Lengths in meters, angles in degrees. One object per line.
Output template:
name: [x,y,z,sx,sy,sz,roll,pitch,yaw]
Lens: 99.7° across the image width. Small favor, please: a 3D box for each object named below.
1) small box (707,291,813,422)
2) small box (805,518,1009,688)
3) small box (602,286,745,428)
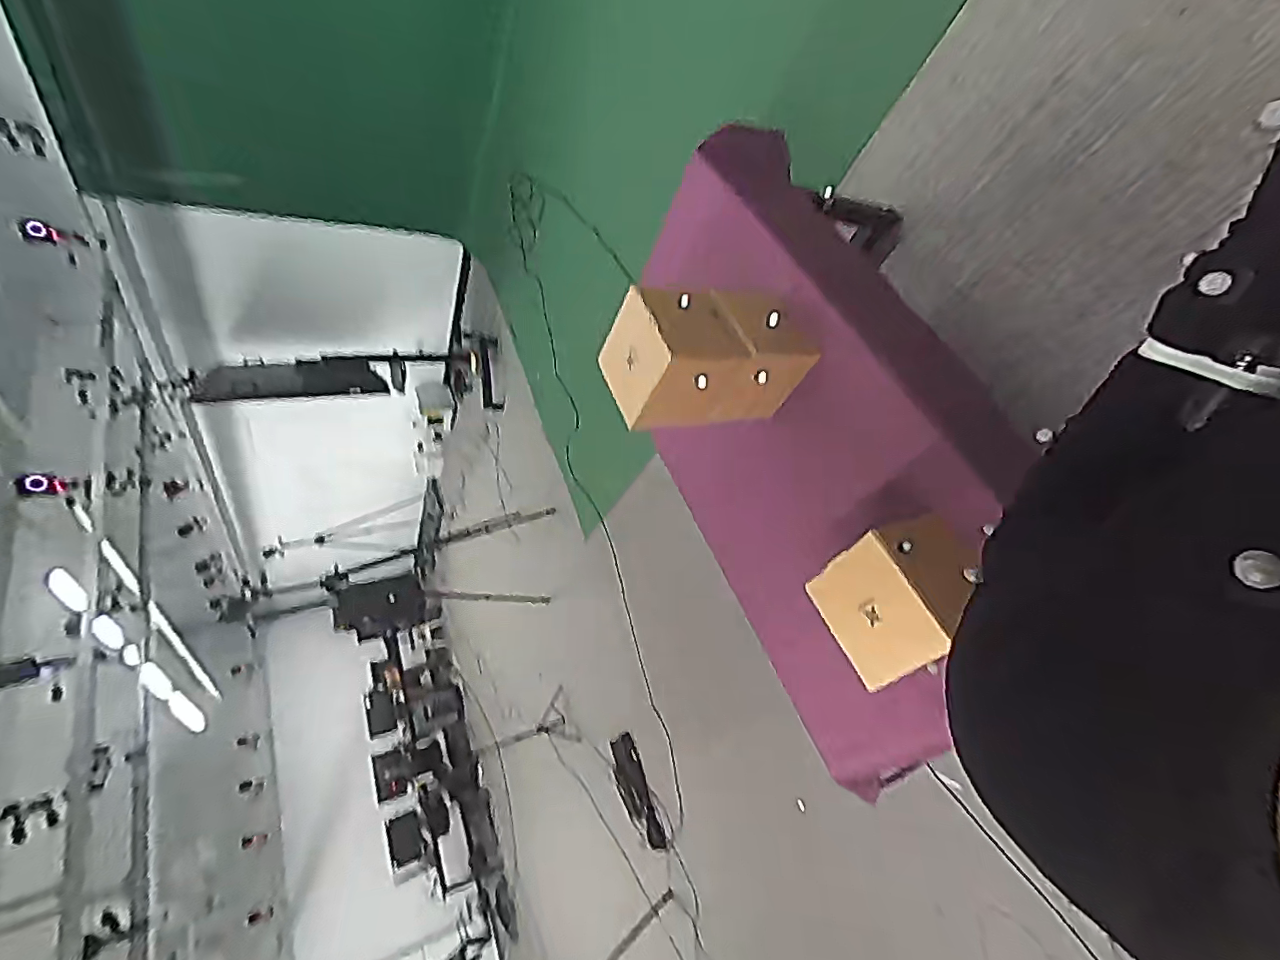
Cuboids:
small box: [0.200,-0.232,1.027,0.179,0.176,0.168,-57,49,47]
small box: [0.391,0.176,0.802,0.179,0.176,0.168,64,144,30]
small box: [0.060,-0.212,0.945,0.179,0.176,0.168,-55,51,48]
